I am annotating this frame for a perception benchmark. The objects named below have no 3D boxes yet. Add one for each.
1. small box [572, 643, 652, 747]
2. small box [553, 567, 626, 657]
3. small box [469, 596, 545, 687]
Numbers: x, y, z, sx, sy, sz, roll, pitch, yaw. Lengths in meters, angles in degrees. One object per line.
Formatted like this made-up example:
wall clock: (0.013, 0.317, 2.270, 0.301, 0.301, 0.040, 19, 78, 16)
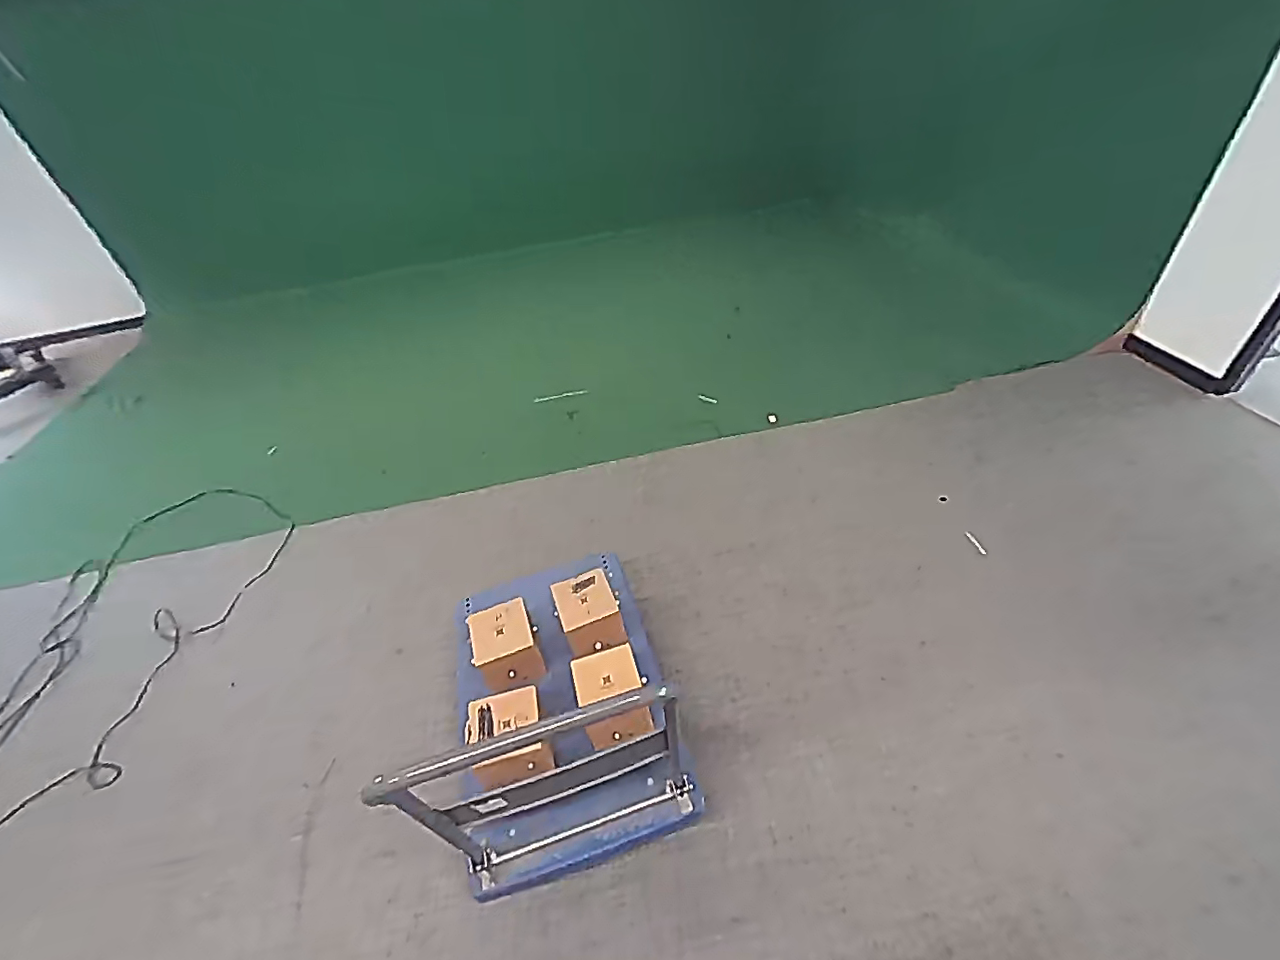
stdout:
small box: (-0.074, 0.570, 1.434, 0.168, 0.176, 0.179, -16, 43, -7)
small box: (-0.151, 0.399, 1.628, 0.168, 0.176, 0.179, -19, 45, -10)
small box: (-0.386, 0.479, 1.582, 0.168, 0.176, 0.179, -18, 44, -11)
